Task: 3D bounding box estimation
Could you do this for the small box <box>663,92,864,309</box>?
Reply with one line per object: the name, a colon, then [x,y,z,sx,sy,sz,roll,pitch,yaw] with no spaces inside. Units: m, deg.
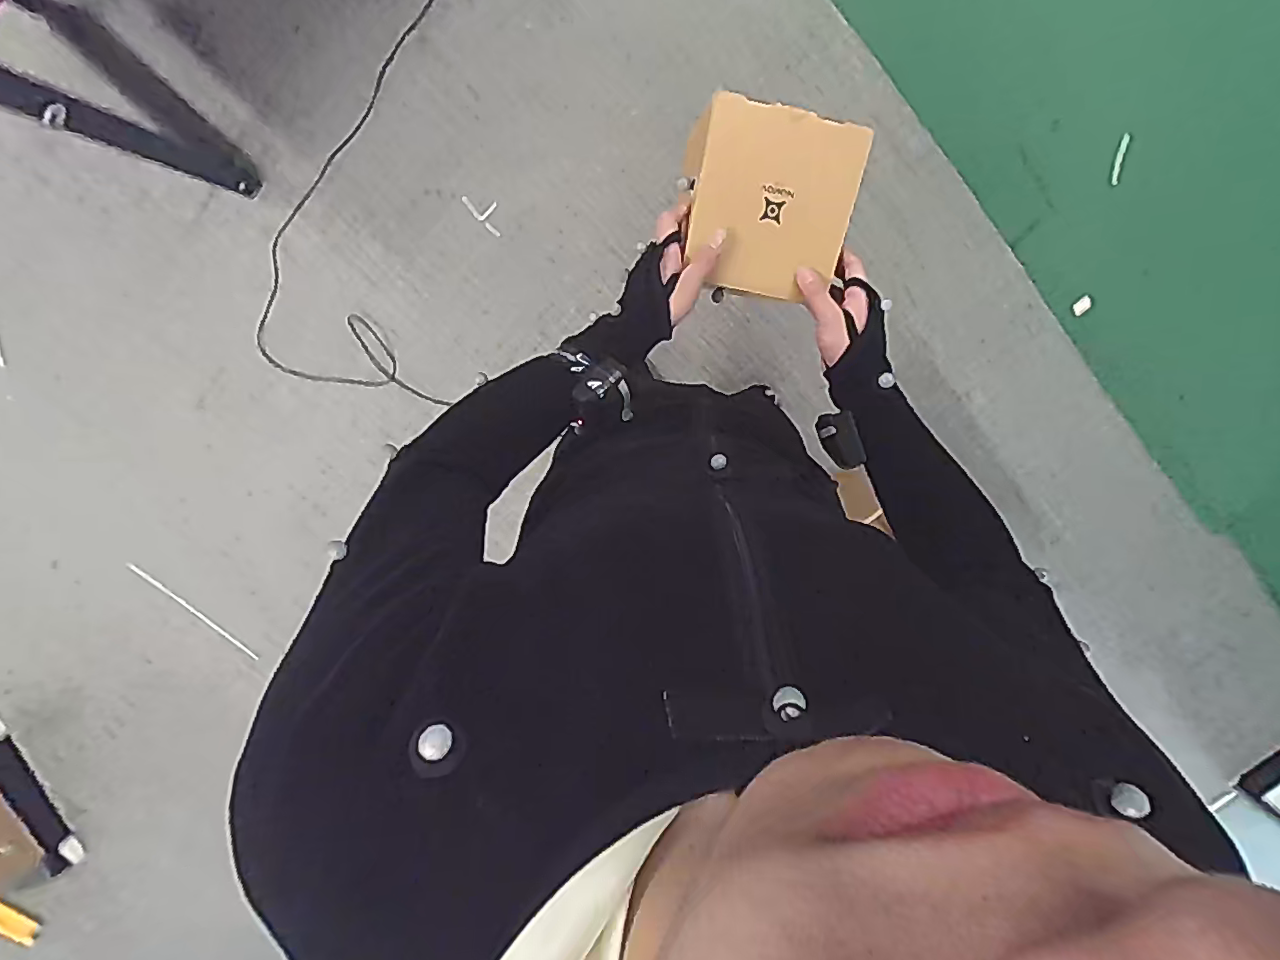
small box: [0.124,-0.303,0.624,0.168,0.176,0.179,8,108,-6]
